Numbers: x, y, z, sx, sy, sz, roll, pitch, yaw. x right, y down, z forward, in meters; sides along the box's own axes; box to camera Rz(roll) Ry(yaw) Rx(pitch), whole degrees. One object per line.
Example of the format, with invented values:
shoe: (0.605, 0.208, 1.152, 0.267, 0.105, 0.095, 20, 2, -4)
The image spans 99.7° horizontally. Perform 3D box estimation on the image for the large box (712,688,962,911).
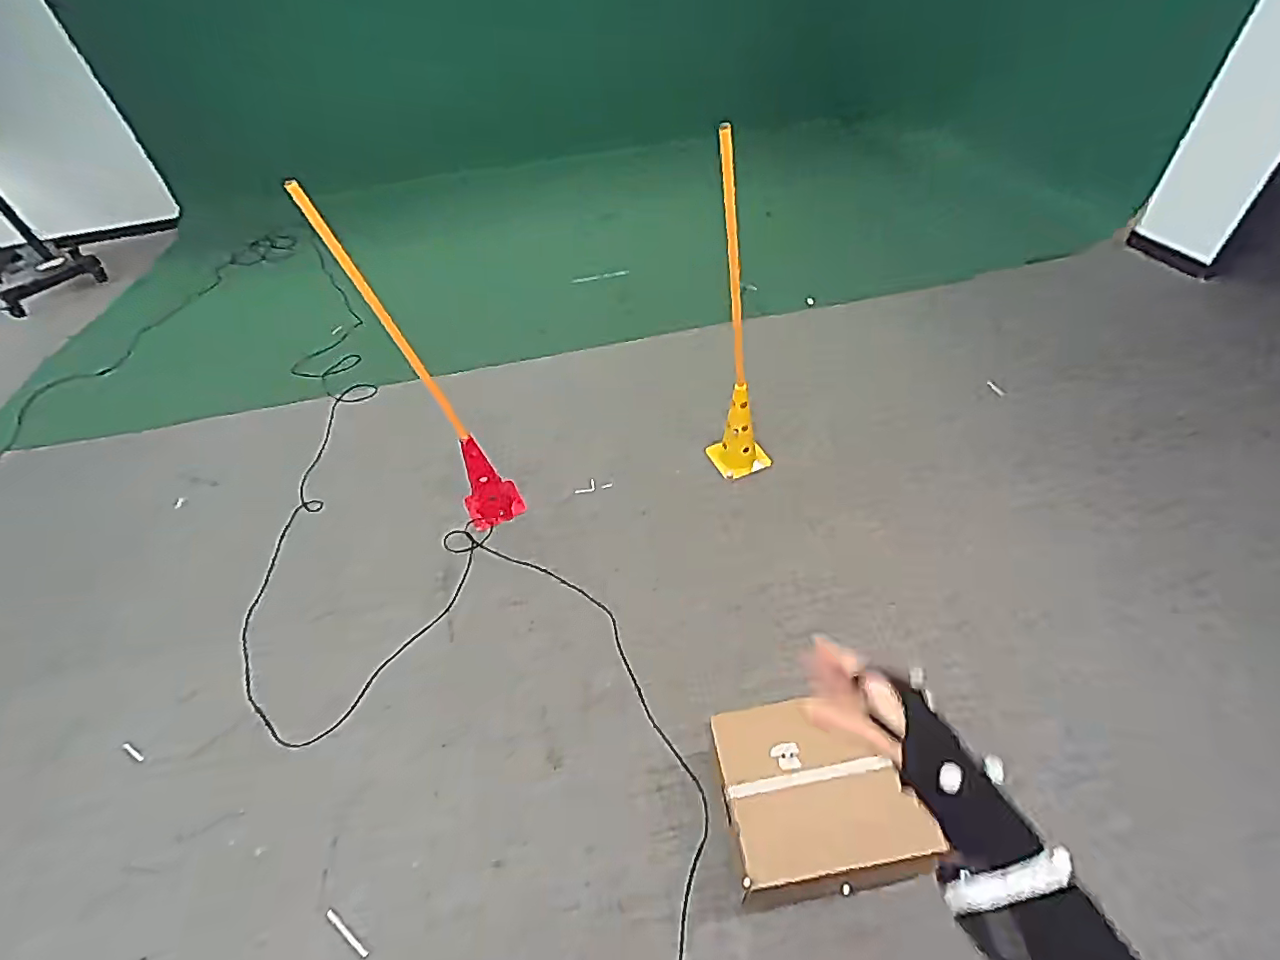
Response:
large box: (0.391, 0.703, 1.188, 0.408, 0.320, 0.320, -11, 45, -2)
